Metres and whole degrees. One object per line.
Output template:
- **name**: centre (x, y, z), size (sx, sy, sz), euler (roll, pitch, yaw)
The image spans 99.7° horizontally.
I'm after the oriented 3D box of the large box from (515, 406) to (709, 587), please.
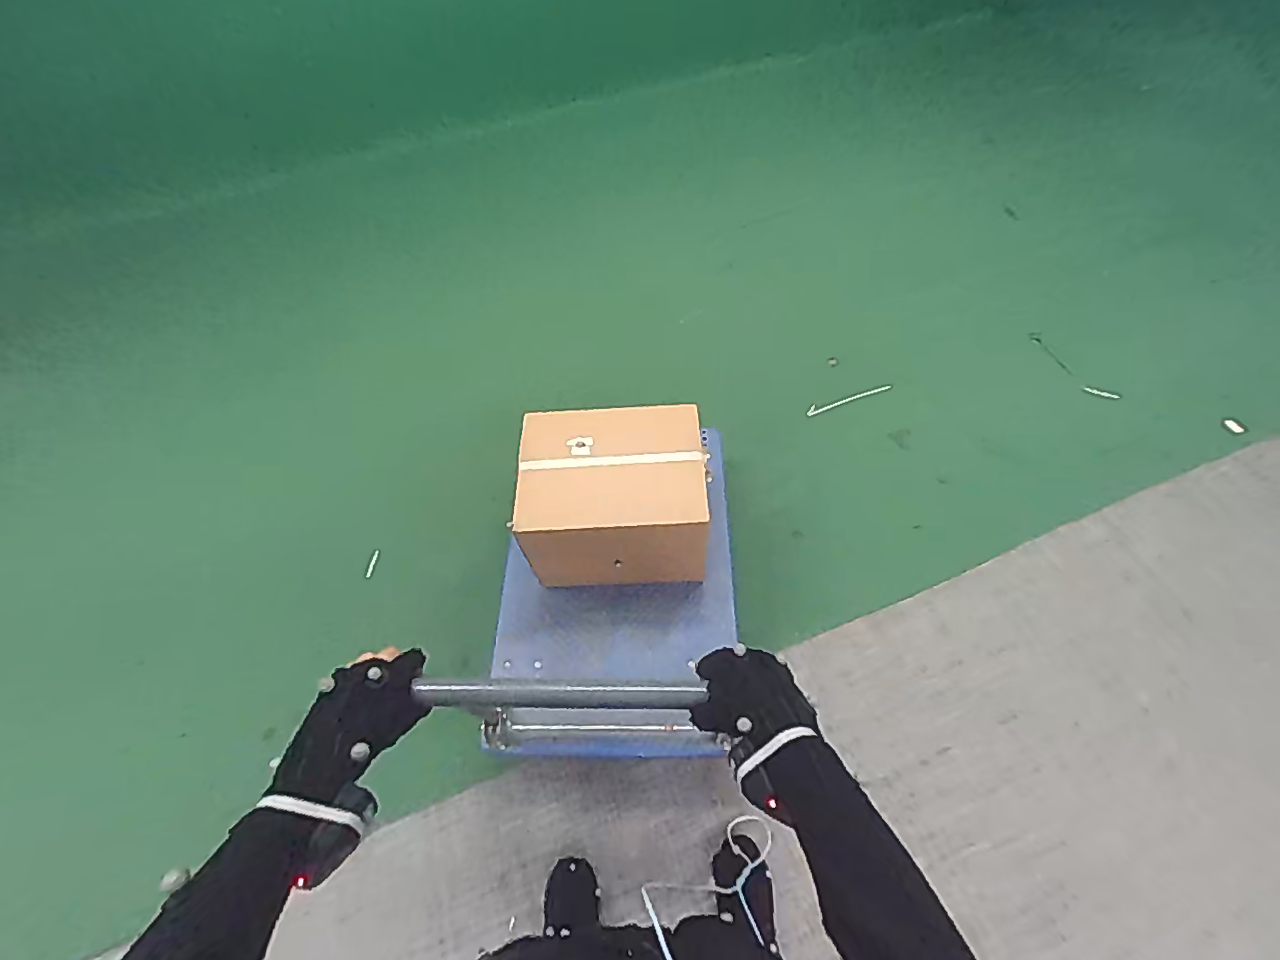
- **large box**: centre (-0.054, 0.050, 1.306), size (0.408, 0.320, 0.320), euler (-4, 56, 2)
